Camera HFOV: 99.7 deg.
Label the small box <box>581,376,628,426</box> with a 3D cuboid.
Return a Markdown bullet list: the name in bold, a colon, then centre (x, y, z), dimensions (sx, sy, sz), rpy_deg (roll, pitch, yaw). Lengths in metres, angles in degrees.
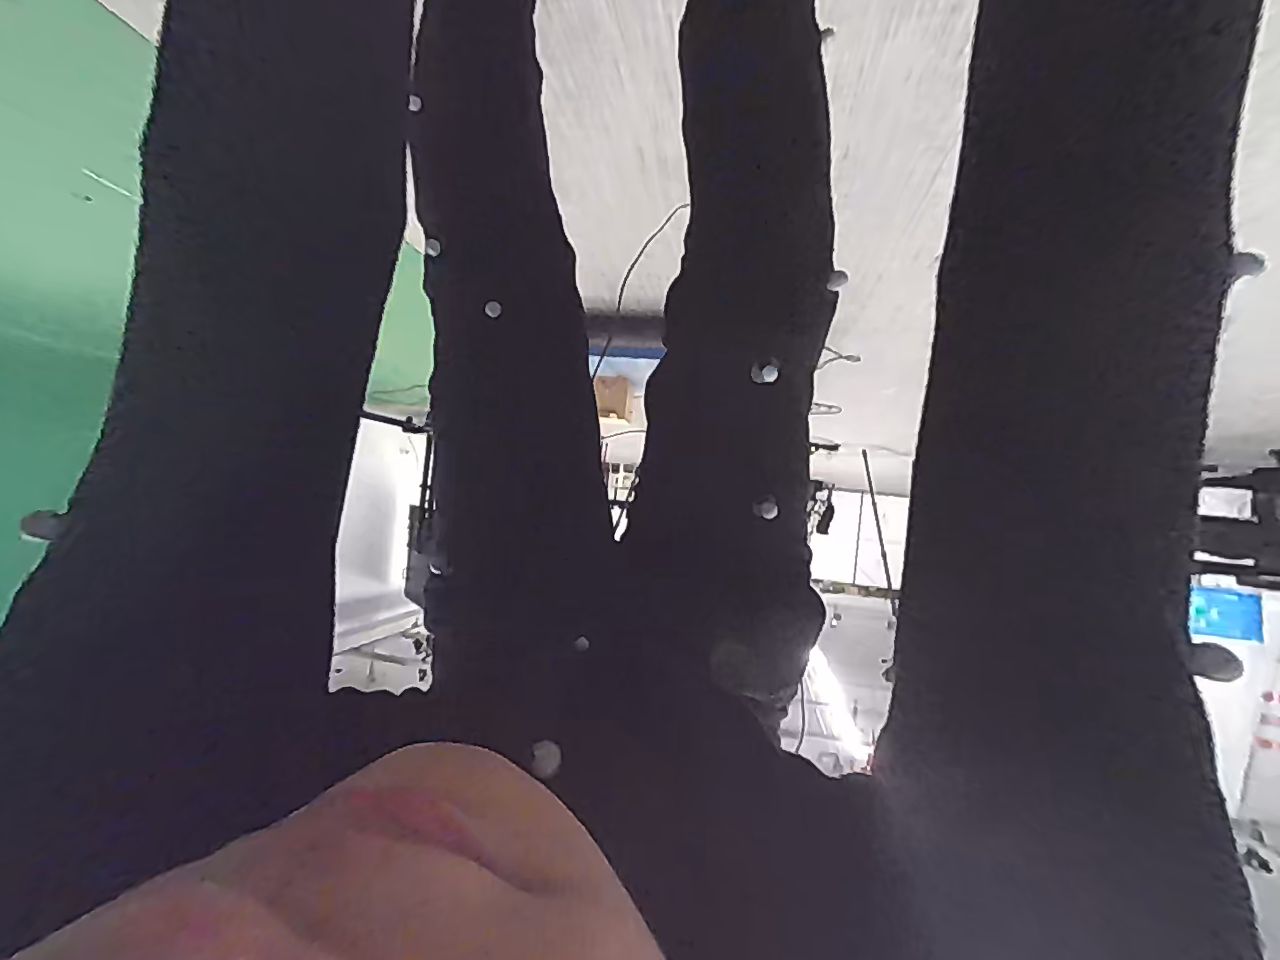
- **small box**: centre (-0.146, -0.334, 2.297), dimensions (0.168, 0.176, 0.179), rpy_deg (5, 177, 7)
